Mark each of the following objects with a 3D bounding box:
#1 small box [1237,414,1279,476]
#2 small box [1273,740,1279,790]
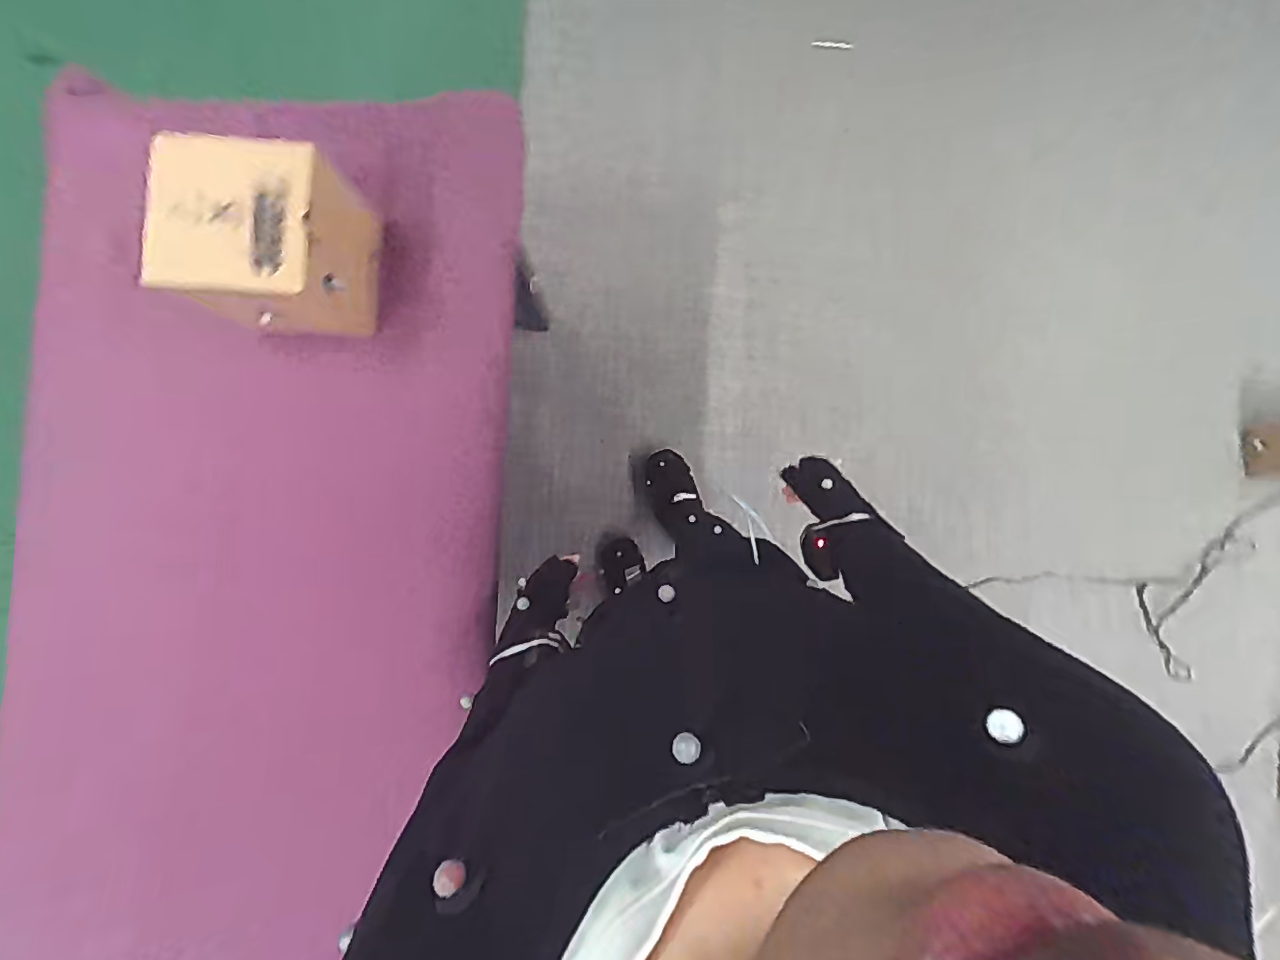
[{"bbox_3d":[1.838,-0.100,1.503,0.179,0.176,0.168,0,88,-2],"label":"small box"},{"bbox_3d":[1.912,0.812,1.481,0.179,0.176,0.168,1,91,-1],"label":"small box"}]
